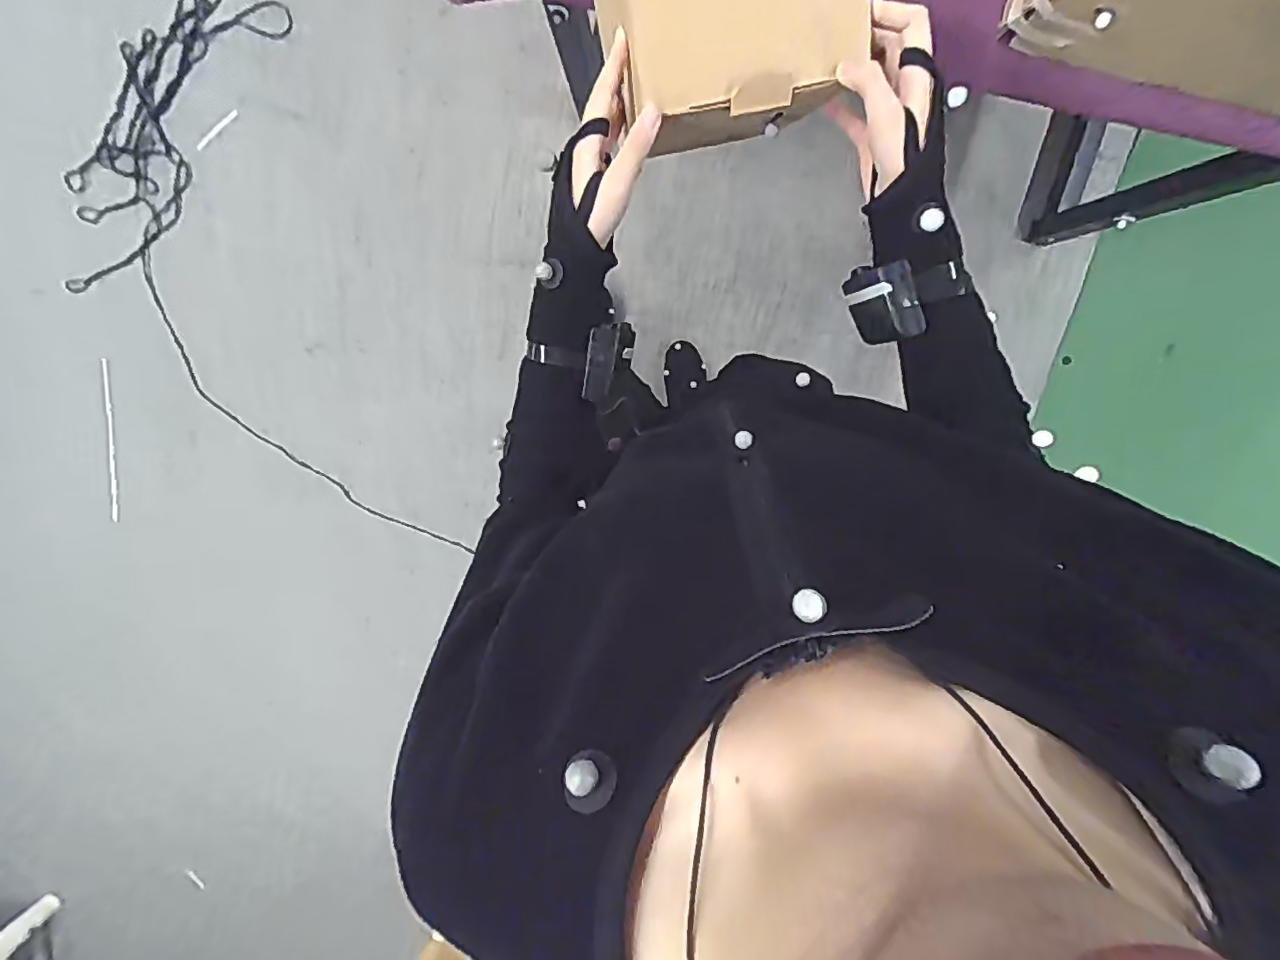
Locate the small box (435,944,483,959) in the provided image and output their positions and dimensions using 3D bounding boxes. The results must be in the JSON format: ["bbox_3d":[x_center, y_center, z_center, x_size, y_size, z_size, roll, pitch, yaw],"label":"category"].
[{"bbox_3d":[-0.511,1.410,1.443,0.168,0.176,0.179,29,103,-5],"label":"small box"}]
